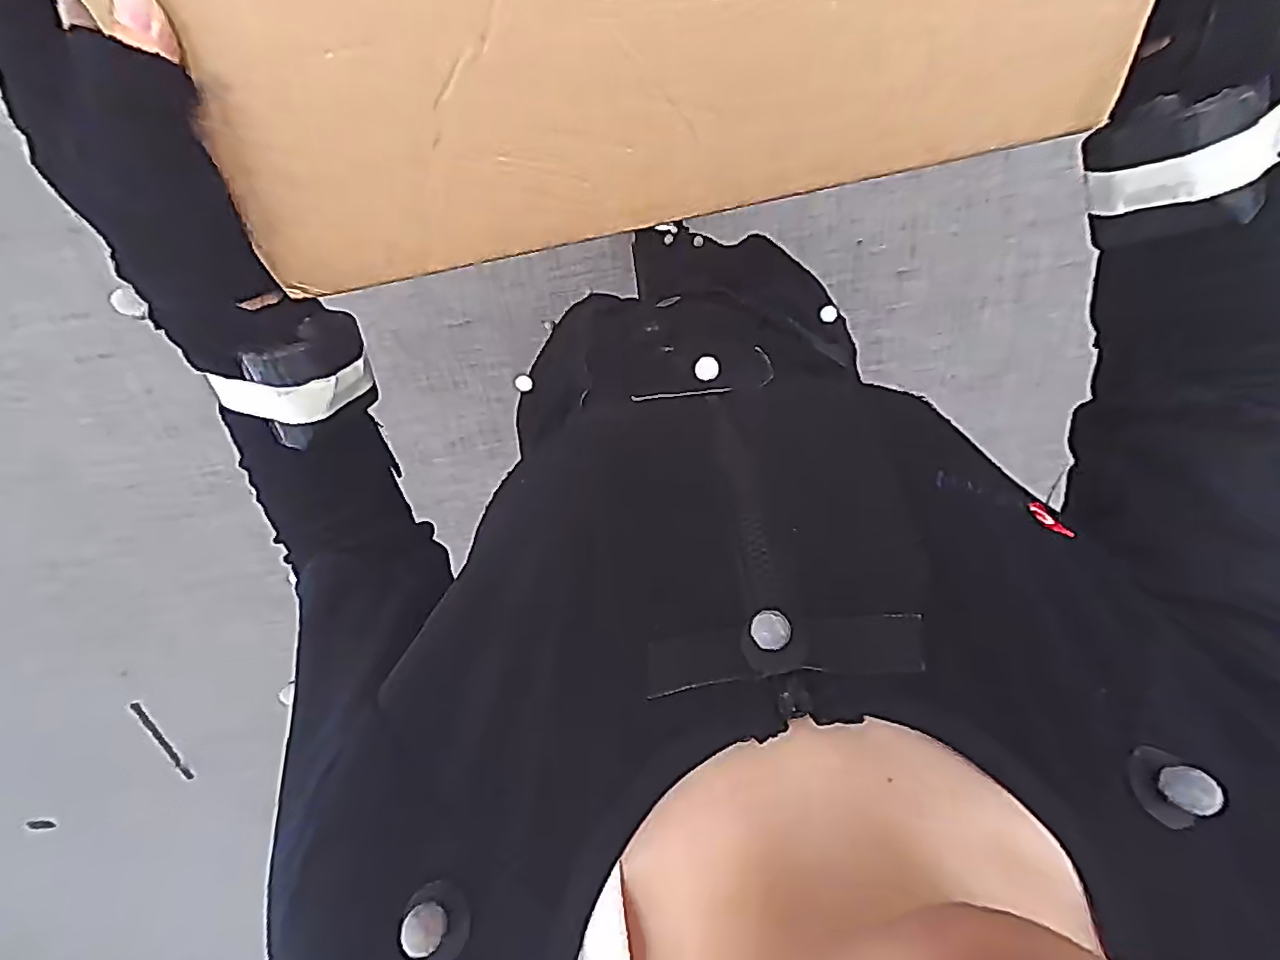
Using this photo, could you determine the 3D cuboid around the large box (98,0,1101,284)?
[{"bbox_3d":[-0.027,-0.349,0.266,0.408,0.320,0.320,-11,135,2],"label":"large box"}]
